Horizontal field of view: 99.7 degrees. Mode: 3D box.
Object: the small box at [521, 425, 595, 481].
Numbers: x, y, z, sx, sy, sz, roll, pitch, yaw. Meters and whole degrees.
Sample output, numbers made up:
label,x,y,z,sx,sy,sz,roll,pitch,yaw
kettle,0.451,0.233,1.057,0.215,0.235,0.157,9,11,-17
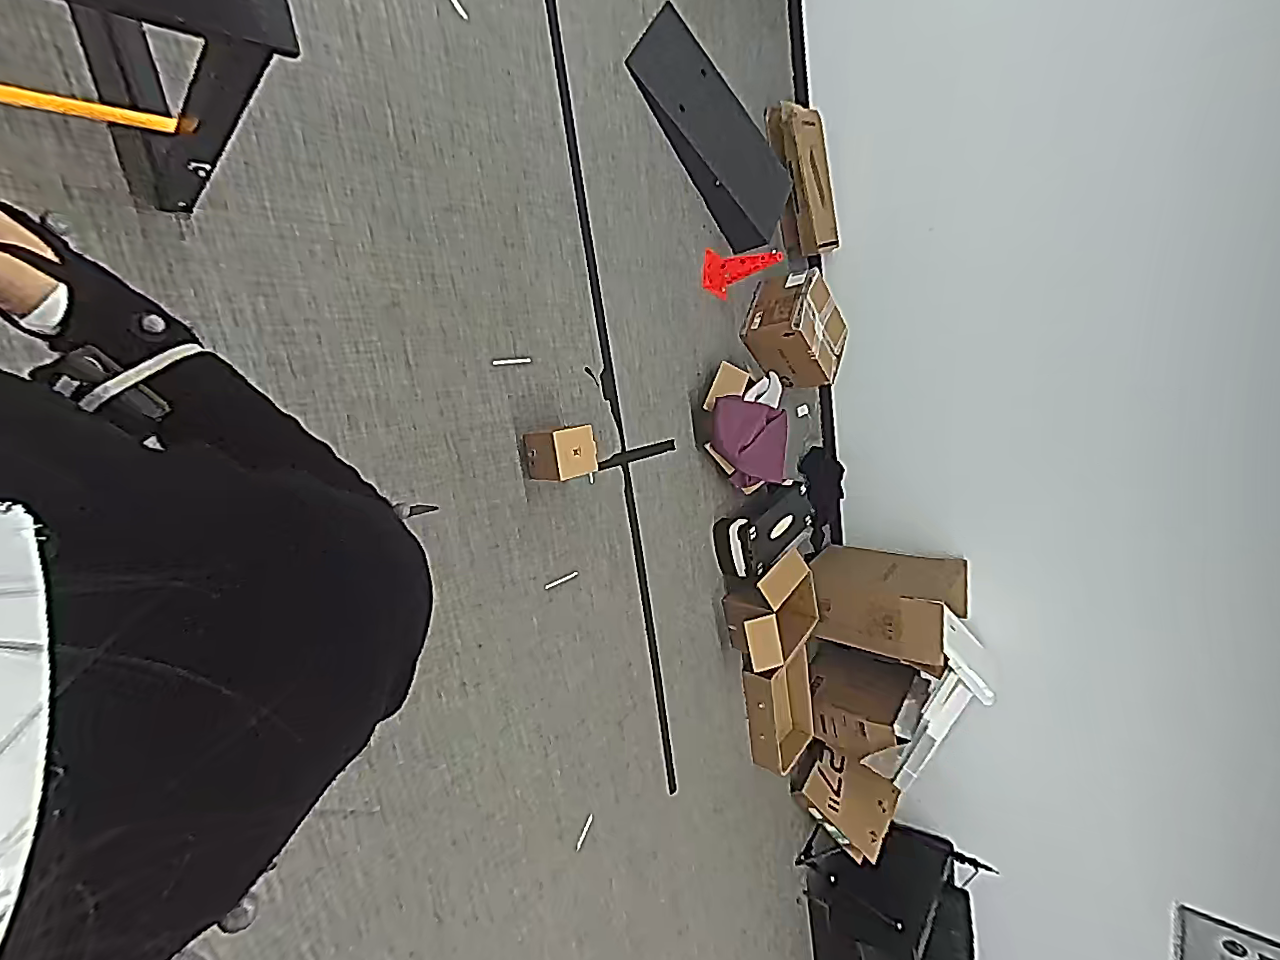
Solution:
label,x,y,z,sx,sy,sz,roll,pitch,yaw
small box,-0.284,-0.098,1.866,0.179,0.176,0.168,-19,104,-45
